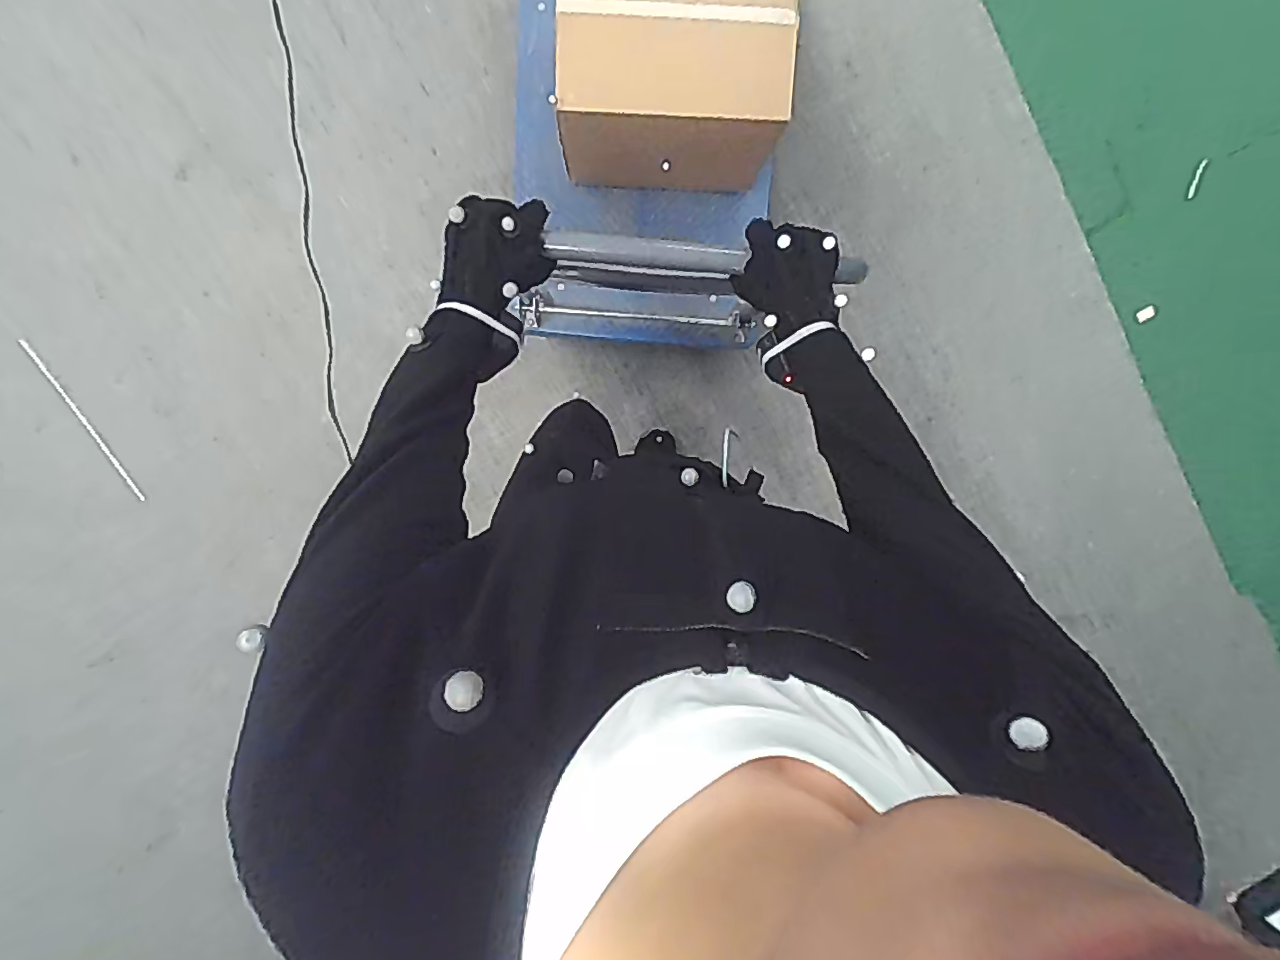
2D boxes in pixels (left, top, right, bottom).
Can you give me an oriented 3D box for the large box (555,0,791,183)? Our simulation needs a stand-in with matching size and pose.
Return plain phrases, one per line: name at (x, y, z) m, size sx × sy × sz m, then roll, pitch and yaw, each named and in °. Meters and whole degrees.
large box at (0.054, -0.803, 1.057) m, size 0.408 × 0.320 × 0.320 m, roll 1°, pitch 97°, yaw -2°
